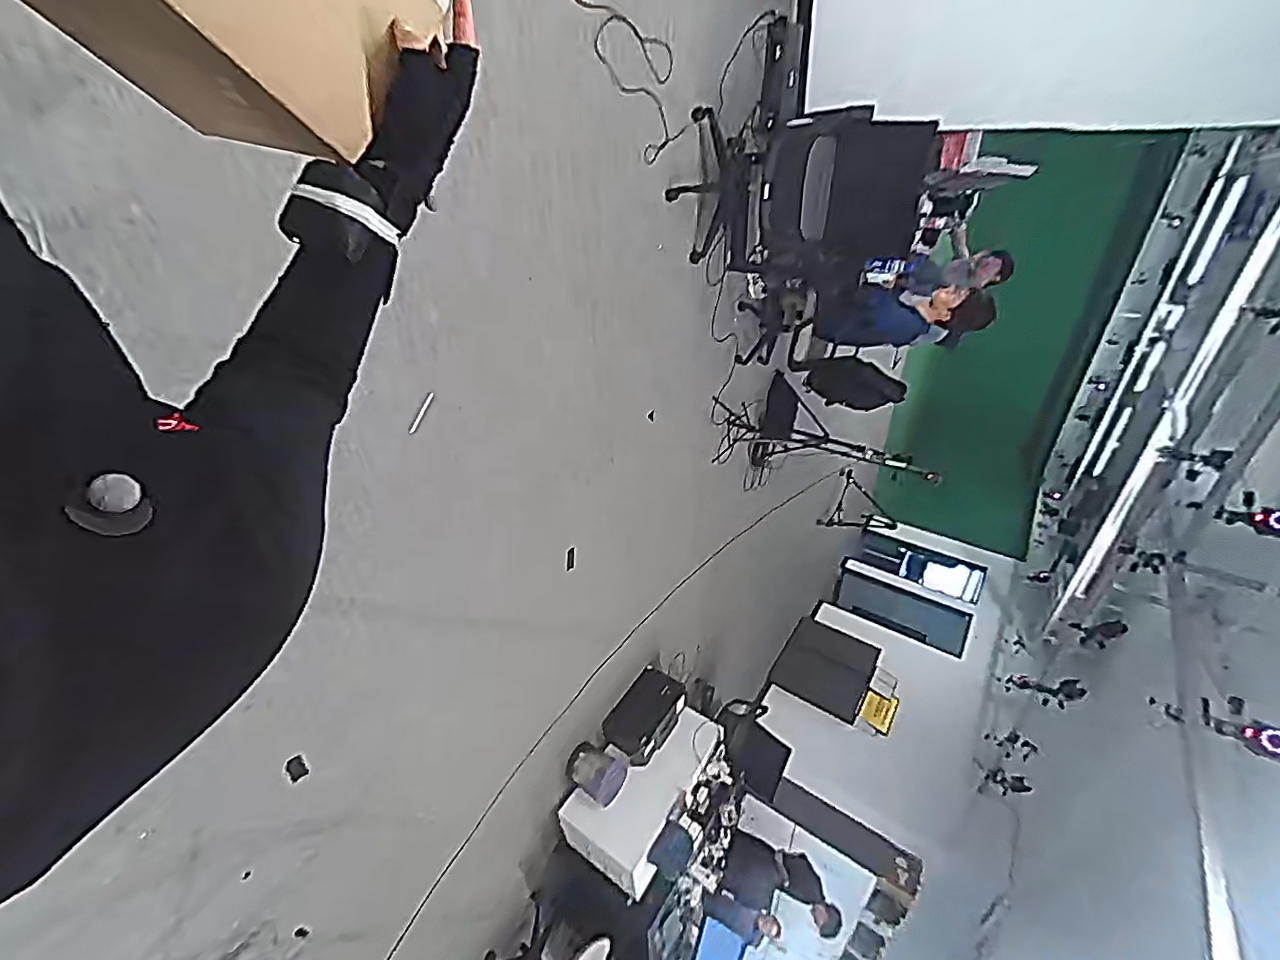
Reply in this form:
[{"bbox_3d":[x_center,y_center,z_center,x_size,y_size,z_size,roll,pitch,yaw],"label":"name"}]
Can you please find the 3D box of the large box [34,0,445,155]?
[{"bbox_3d":[-0.365,-0.507,0.350,0.320,0.320,0.408,-61,152,-2],"label":"large box"}]
